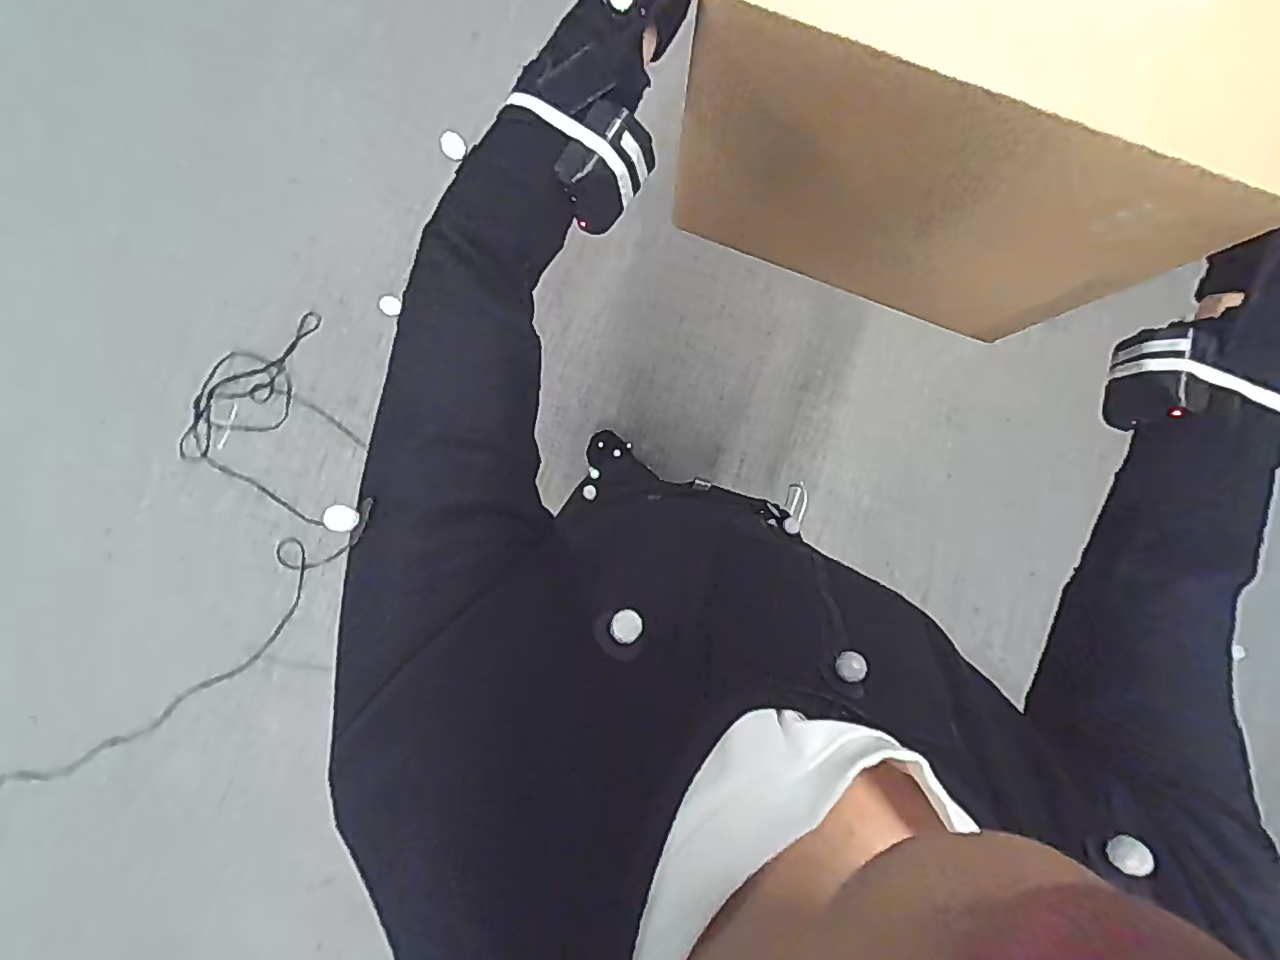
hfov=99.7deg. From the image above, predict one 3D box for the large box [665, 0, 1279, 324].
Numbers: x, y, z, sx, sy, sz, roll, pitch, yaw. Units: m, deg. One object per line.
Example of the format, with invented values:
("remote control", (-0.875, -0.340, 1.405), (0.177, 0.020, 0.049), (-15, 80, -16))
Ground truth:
("large box", (0.263, -0.387, 0.492), (0.408, 0.320, 0.320), (18, 90, -1))
